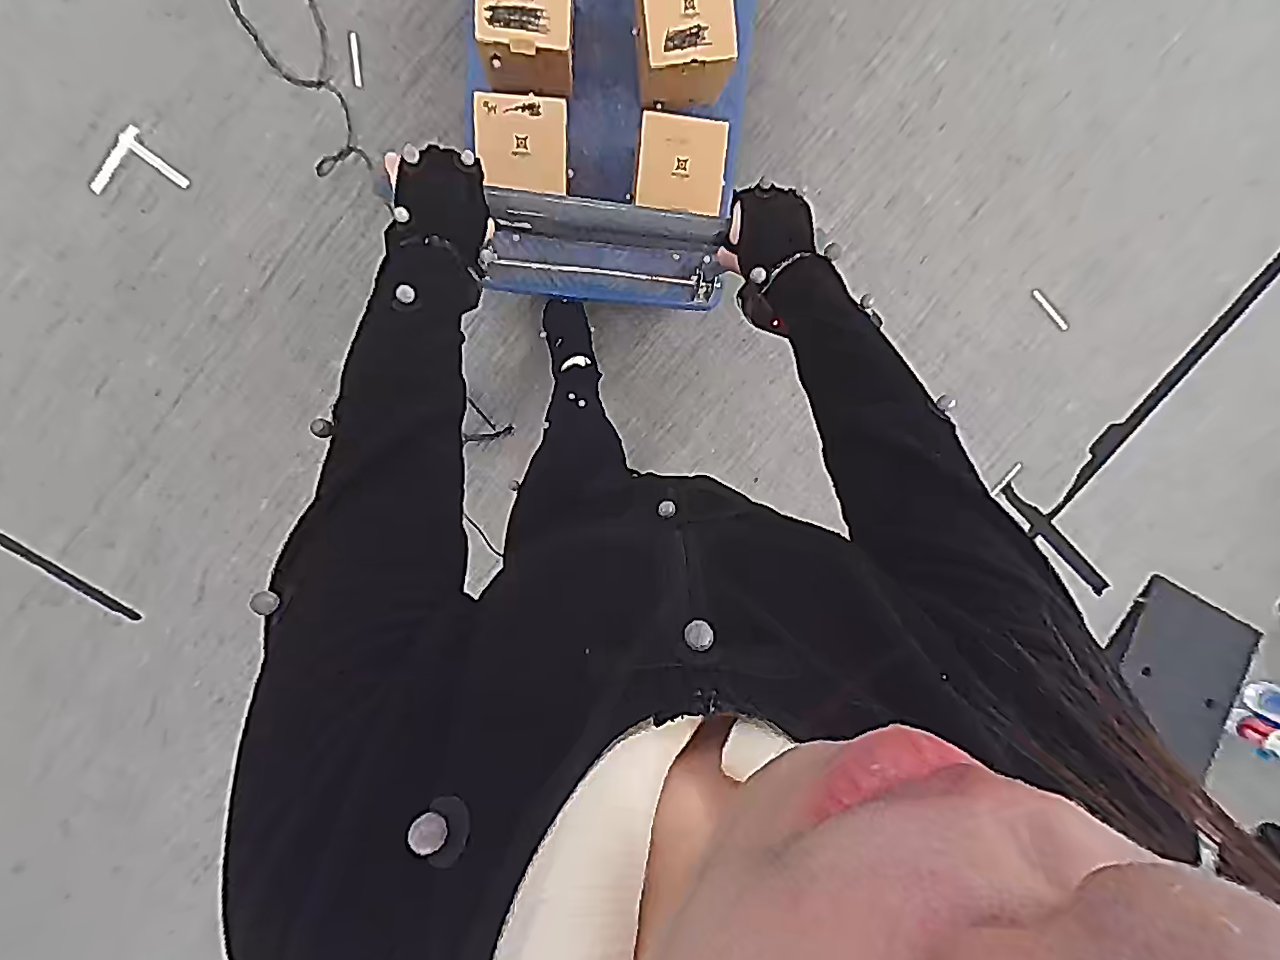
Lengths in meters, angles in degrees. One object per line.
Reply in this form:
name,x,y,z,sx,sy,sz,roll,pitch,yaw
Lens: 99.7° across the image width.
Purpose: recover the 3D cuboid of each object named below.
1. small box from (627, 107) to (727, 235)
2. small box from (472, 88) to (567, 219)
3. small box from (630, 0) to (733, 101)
small box,0.067,-0.614,1.099,0.168,0.176,0.179,4,100,-7
small box,-0.229,-0.627,1.062,0.168,0.176,0.179,0,101,-7
small box,0.075,-0.866,1.048,0.168,0.176,0.179,-8,101,-4
